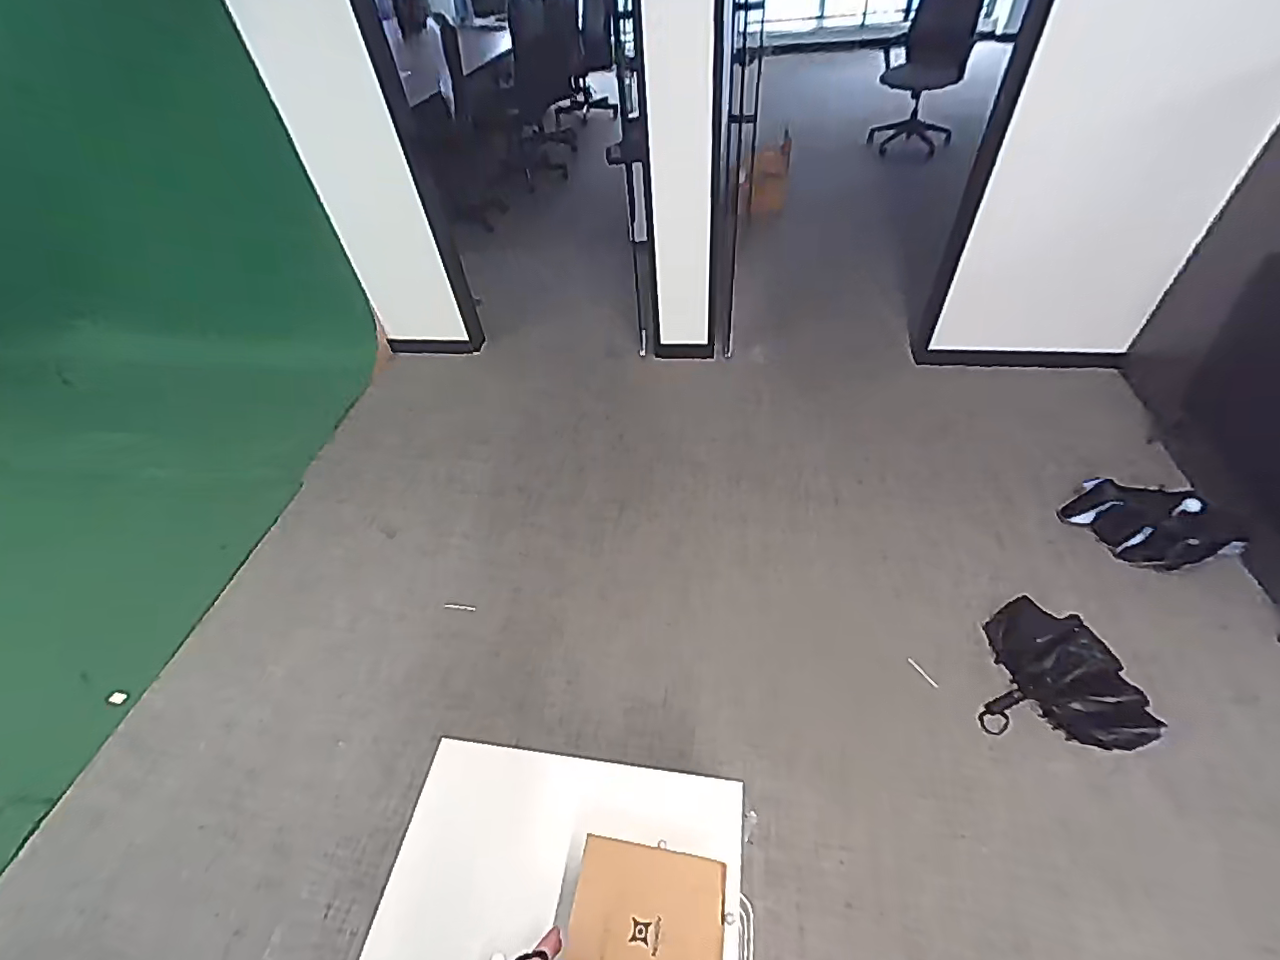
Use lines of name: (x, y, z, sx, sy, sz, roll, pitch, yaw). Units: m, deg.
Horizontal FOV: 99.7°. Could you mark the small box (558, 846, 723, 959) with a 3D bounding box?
small box: (0.006, 0.569, 0.653, 0.179, 0.176, 0.168, 3, 46, 11)
